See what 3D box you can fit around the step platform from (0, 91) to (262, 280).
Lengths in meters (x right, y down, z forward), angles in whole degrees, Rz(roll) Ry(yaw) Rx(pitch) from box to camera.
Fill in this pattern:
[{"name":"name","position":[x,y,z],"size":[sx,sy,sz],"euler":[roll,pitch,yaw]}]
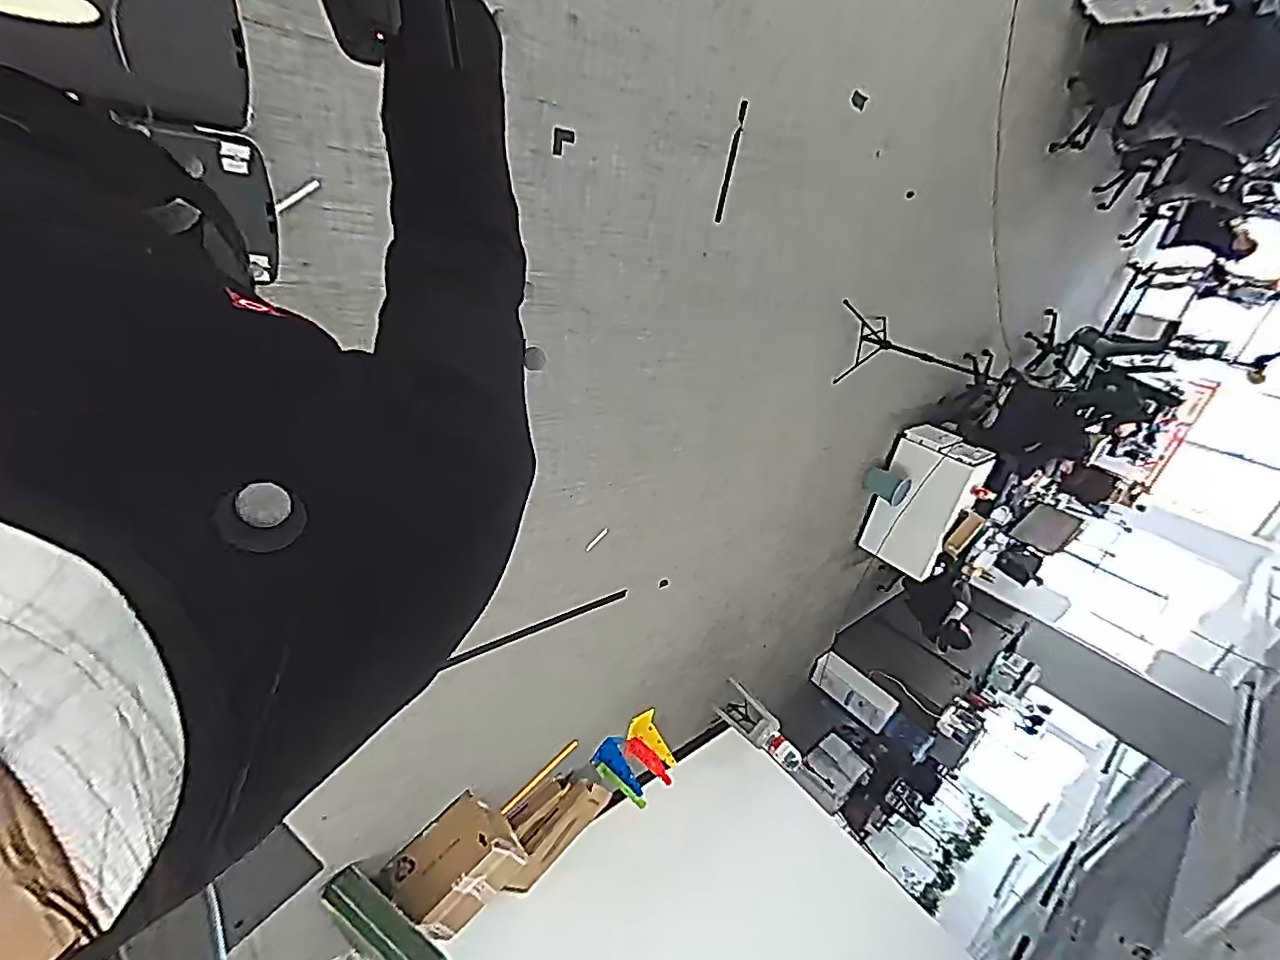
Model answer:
[{"name":"step platform","position":[-1.093,-0.527,0.966],"size":[0.684,0.204,0.286],"euler":[-12,124,-36]}]
